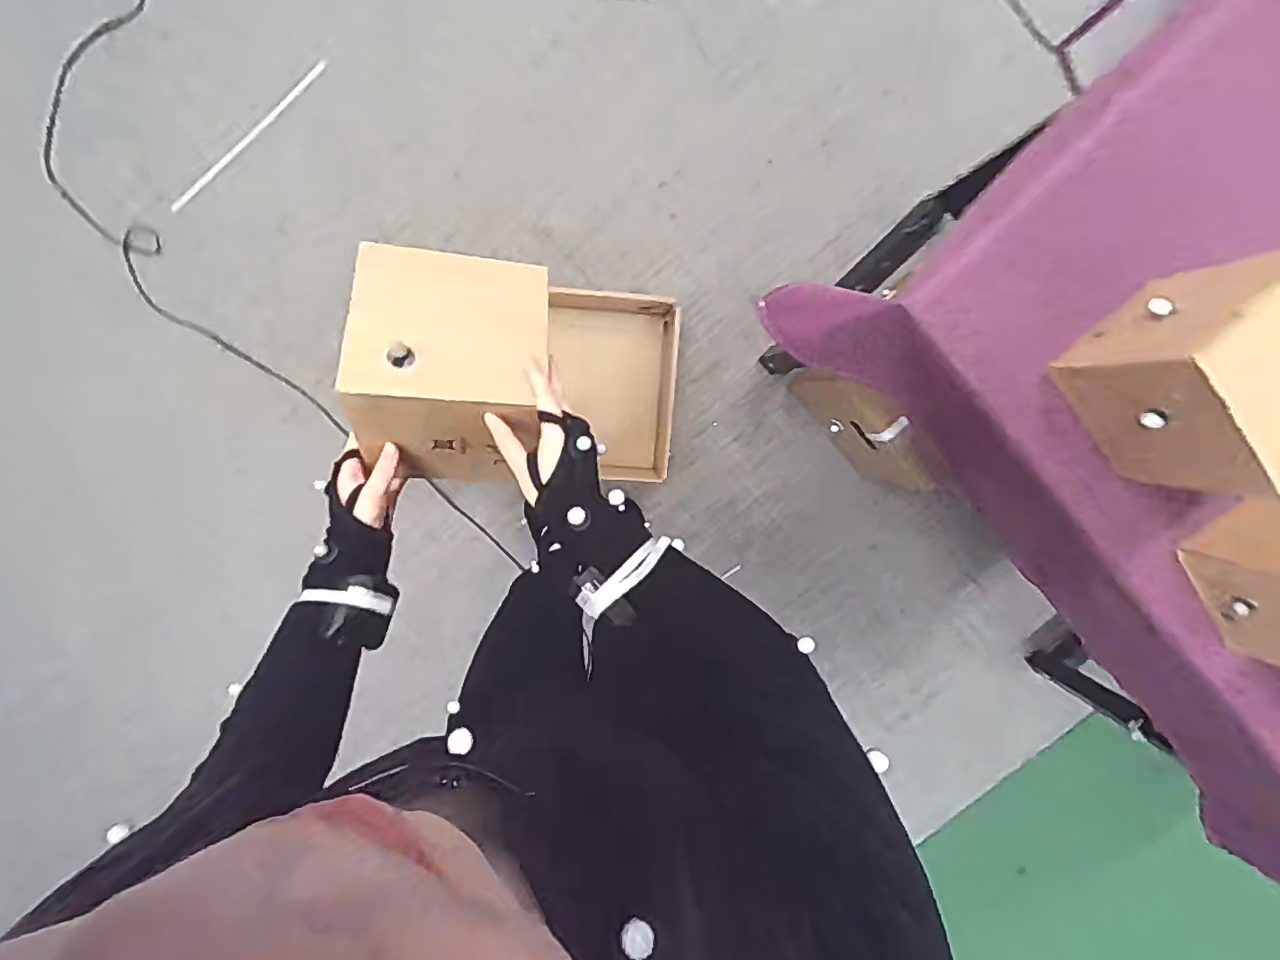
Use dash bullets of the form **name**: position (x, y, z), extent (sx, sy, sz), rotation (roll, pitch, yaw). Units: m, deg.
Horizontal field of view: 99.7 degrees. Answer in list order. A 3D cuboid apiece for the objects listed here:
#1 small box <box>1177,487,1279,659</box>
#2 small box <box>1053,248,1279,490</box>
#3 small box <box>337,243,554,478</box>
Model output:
- **small box**: position (0.799, 0.107, 0.620), extent (0.179, 0.176, 0.168), rotation (-35, 98, 3)
- **small box**: position (0.603, -0.113, 0.576), extent (0.168, 0.176, 0.179), rotation (-40, 98, 4)
- **small box**: position (-0.186, -0.113, 0.553), extent (0.179, 0.168, 0.176), rotation (2, 69, -16)
